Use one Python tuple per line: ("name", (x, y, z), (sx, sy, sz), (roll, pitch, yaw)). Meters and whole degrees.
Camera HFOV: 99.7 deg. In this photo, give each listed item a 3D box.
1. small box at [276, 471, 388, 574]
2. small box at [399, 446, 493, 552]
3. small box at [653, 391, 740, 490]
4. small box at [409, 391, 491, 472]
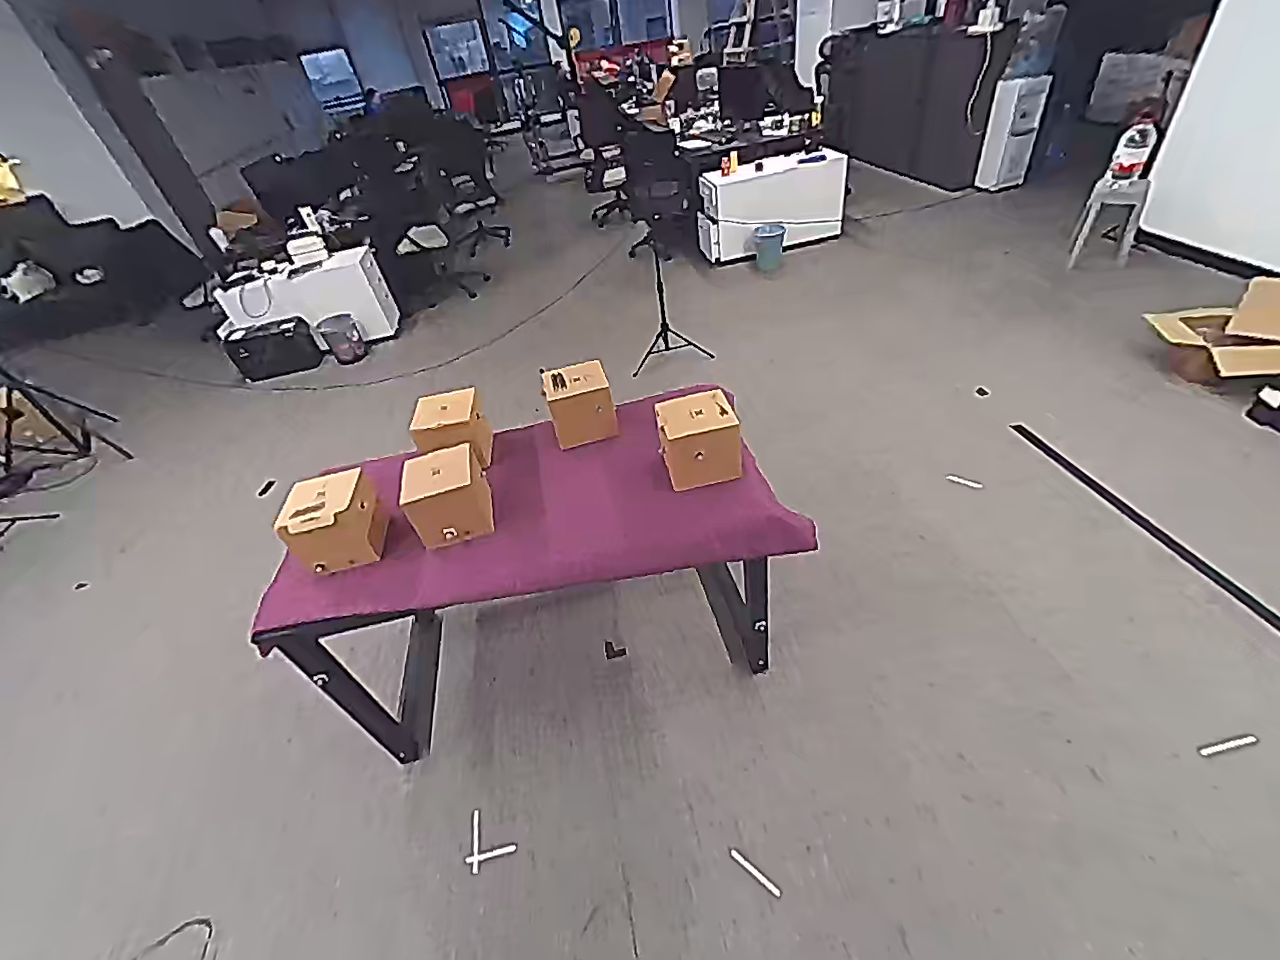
("small box", (-0.740, 0.110, 1.324), (0.168, 0.176, 0.179), (-14, 39, -4))
("small box", (-0.474, 0.047, 1.338), (0.168, 0.176, 0.179), (-17, 40, -6))
("small box", (0.143, -0.095, 1.357), (0.179, 0.176, 0.168), (-14, 41, -1))
("small box", (-0.535, -0.129, 1.551), (0.168, 0.176, 0.179), (-12, 41, -1))
